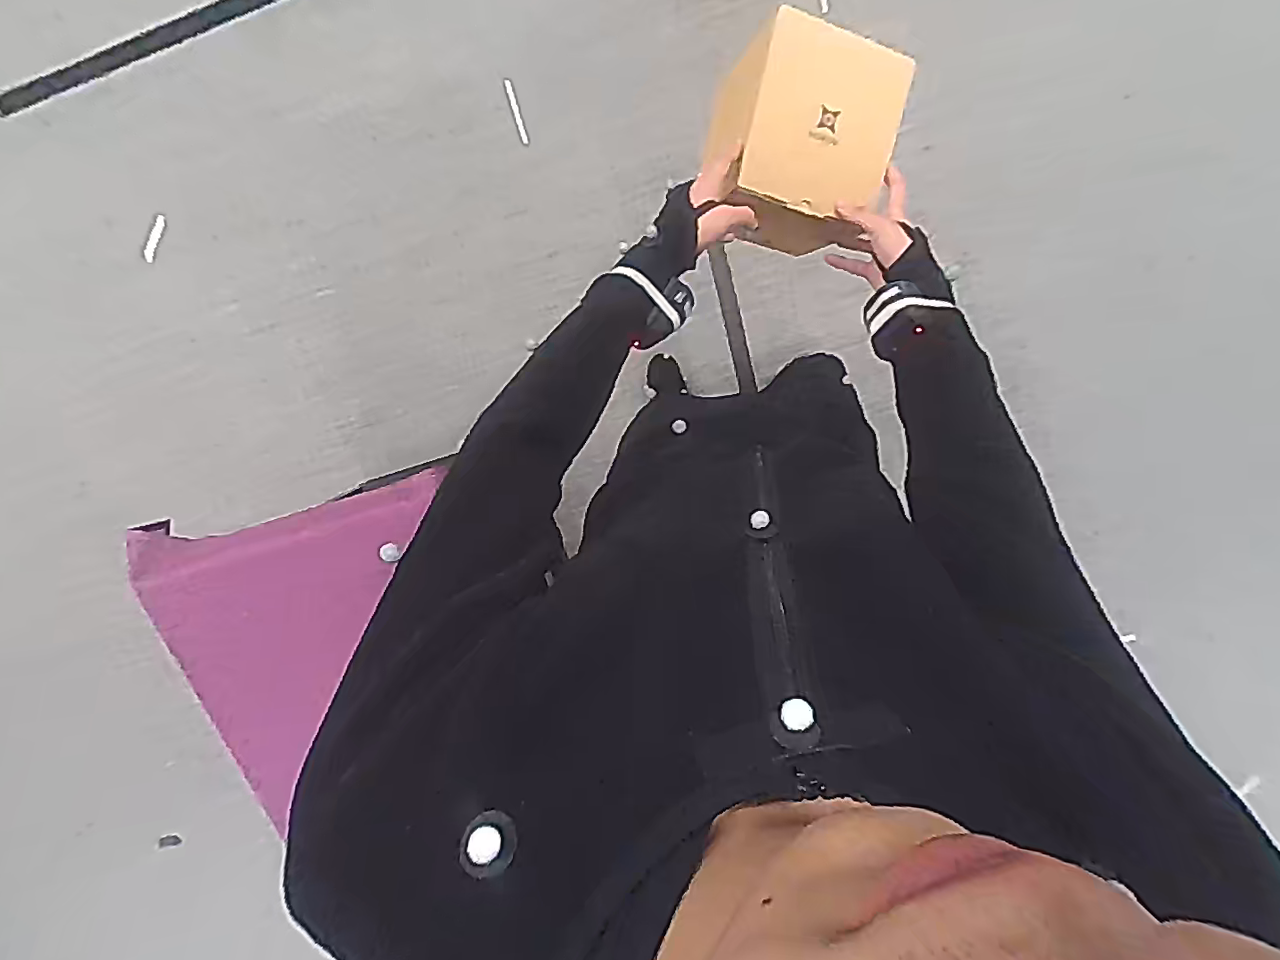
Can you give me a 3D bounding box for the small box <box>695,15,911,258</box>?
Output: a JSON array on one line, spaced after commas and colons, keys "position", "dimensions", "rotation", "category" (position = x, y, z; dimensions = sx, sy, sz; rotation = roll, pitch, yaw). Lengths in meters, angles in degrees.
[{"position": [0.179, -0.388, 0.651], "dimensions": [0.168, 0.176, 0.179], "rotation": [10, 101, -14], "category": "small box"}]
